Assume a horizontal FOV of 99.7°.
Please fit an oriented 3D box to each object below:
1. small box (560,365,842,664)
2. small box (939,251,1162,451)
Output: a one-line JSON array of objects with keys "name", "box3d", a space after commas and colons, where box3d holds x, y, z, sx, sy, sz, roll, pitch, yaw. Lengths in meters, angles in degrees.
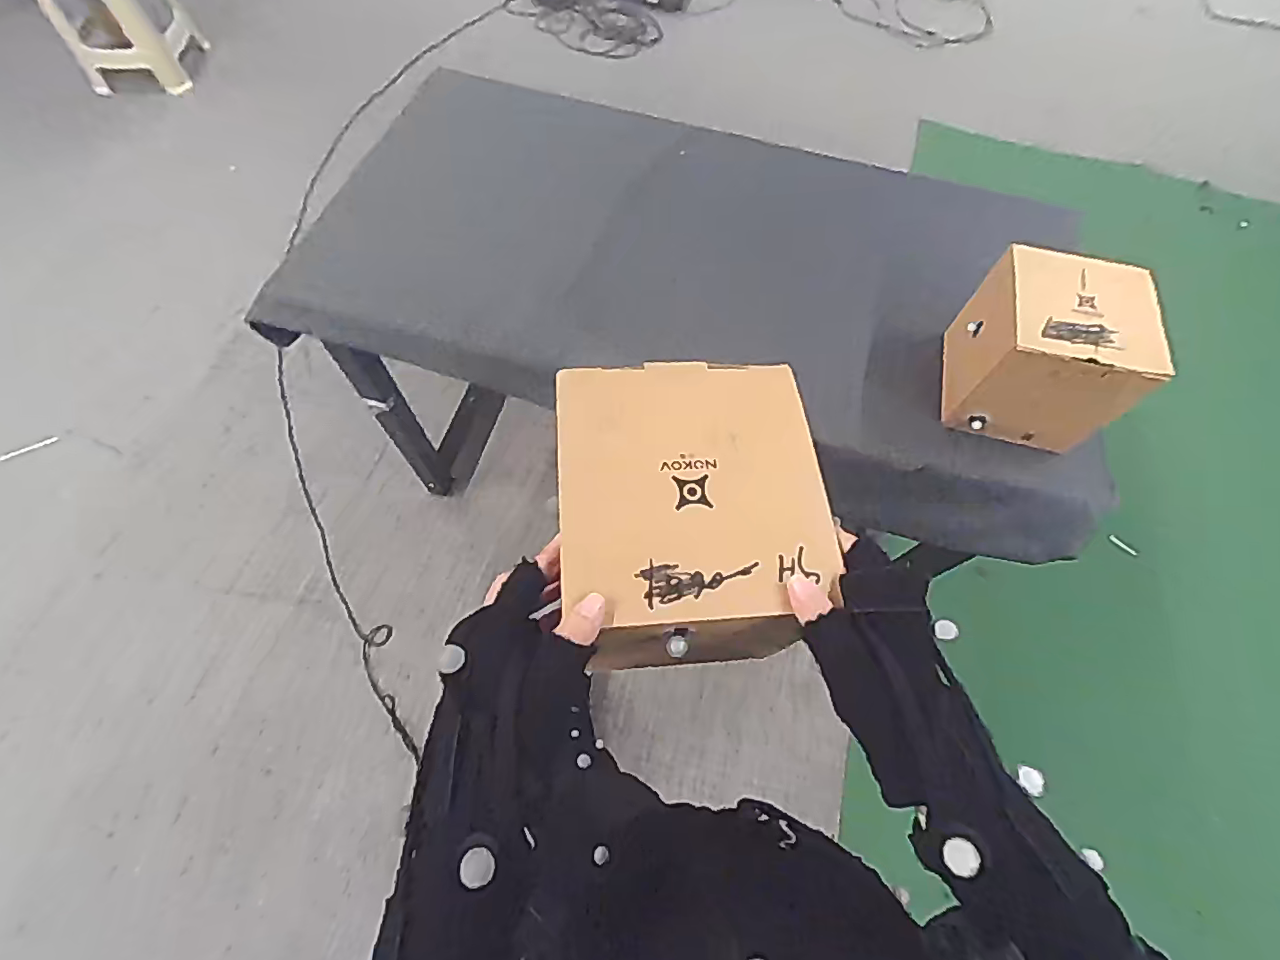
[{"name": "small box", "box3d": [0.025, 0.032, 0.414, 0.168, 0.176, 0.179, -2, 63, -5]}, {"name": "small box", "box3d": [0.517, -0.162, 0.710, 0.168, 0.176, 0.179, 14, 63, 6]}]
